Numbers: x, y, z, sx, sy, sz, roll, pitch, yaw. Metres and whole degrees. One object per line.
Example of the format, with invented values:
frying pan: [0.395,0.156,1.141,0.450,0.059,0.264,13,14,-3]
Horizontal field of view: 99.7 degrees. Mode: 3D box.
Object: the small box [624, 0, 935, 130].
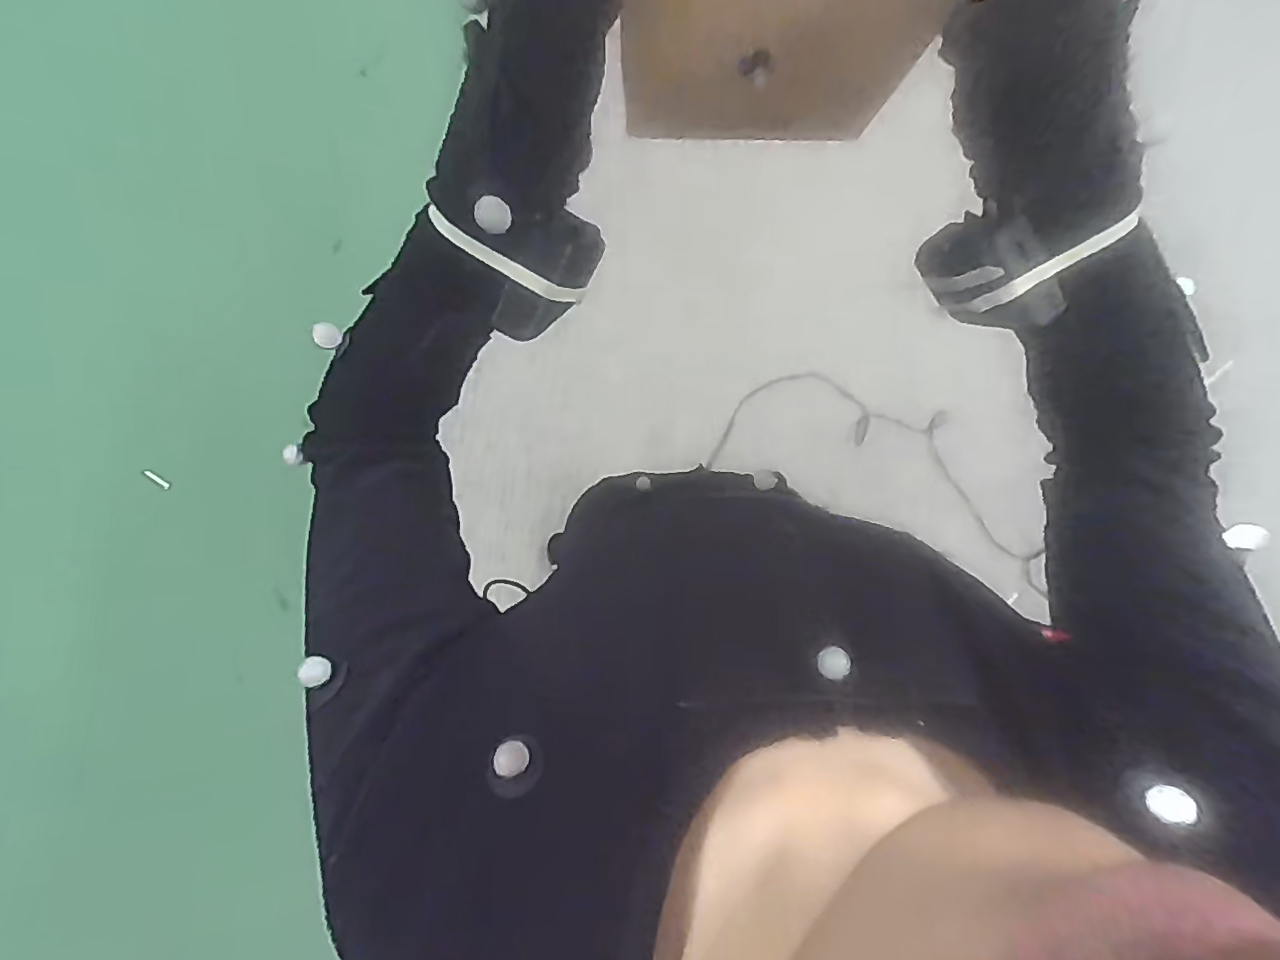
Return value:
small box: [0.075,-0.324,0.296,0.168,0.176,0.179,1,94,-1]
